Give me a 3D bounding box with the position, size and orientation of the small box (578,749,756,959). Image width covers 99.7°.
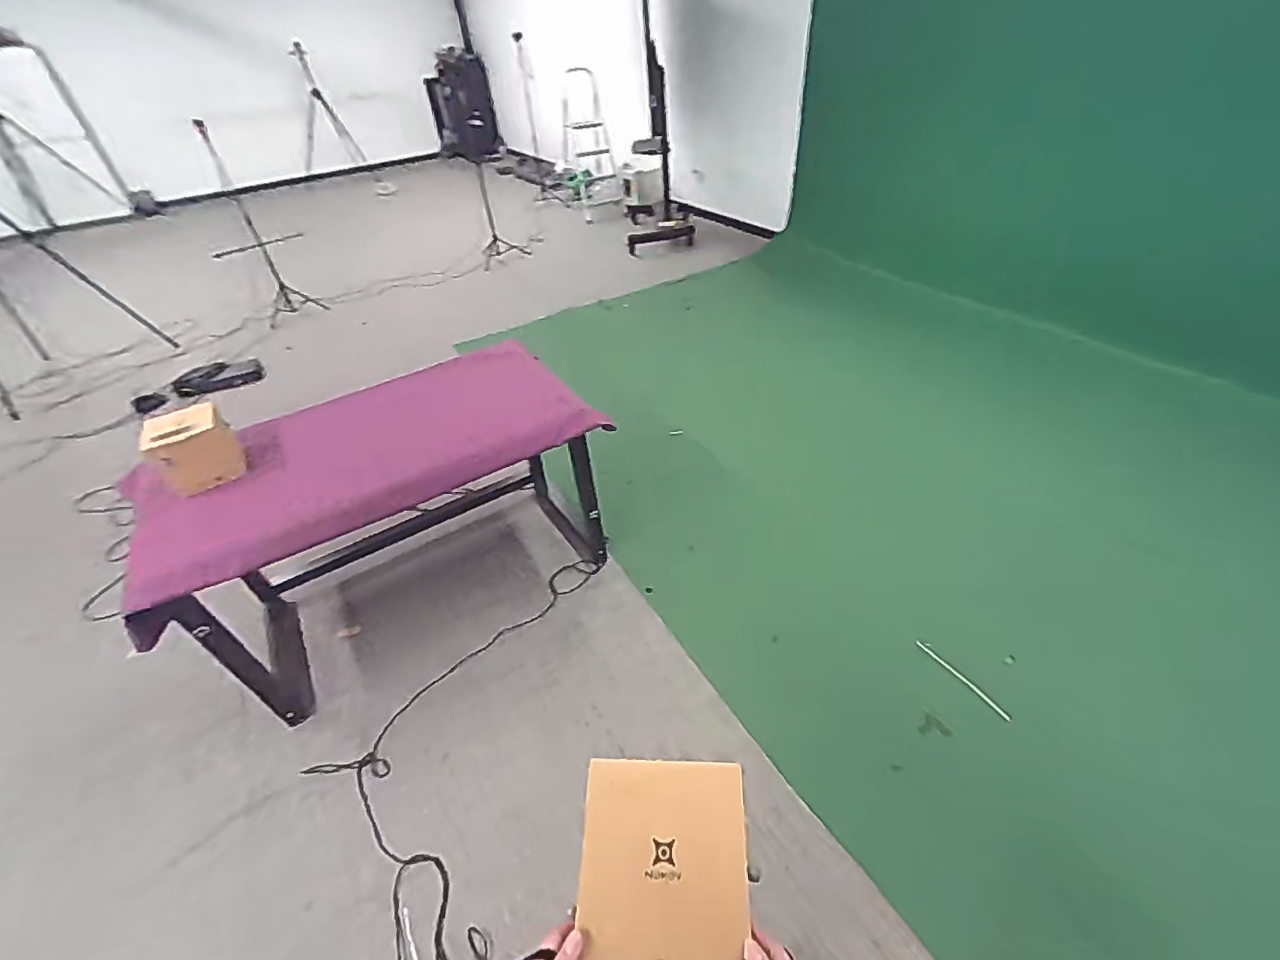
[{"bbox_3d":[0.028,0.411,0.602,0.168,0.176,0.179,0,56,2],"label":"small box"}]
